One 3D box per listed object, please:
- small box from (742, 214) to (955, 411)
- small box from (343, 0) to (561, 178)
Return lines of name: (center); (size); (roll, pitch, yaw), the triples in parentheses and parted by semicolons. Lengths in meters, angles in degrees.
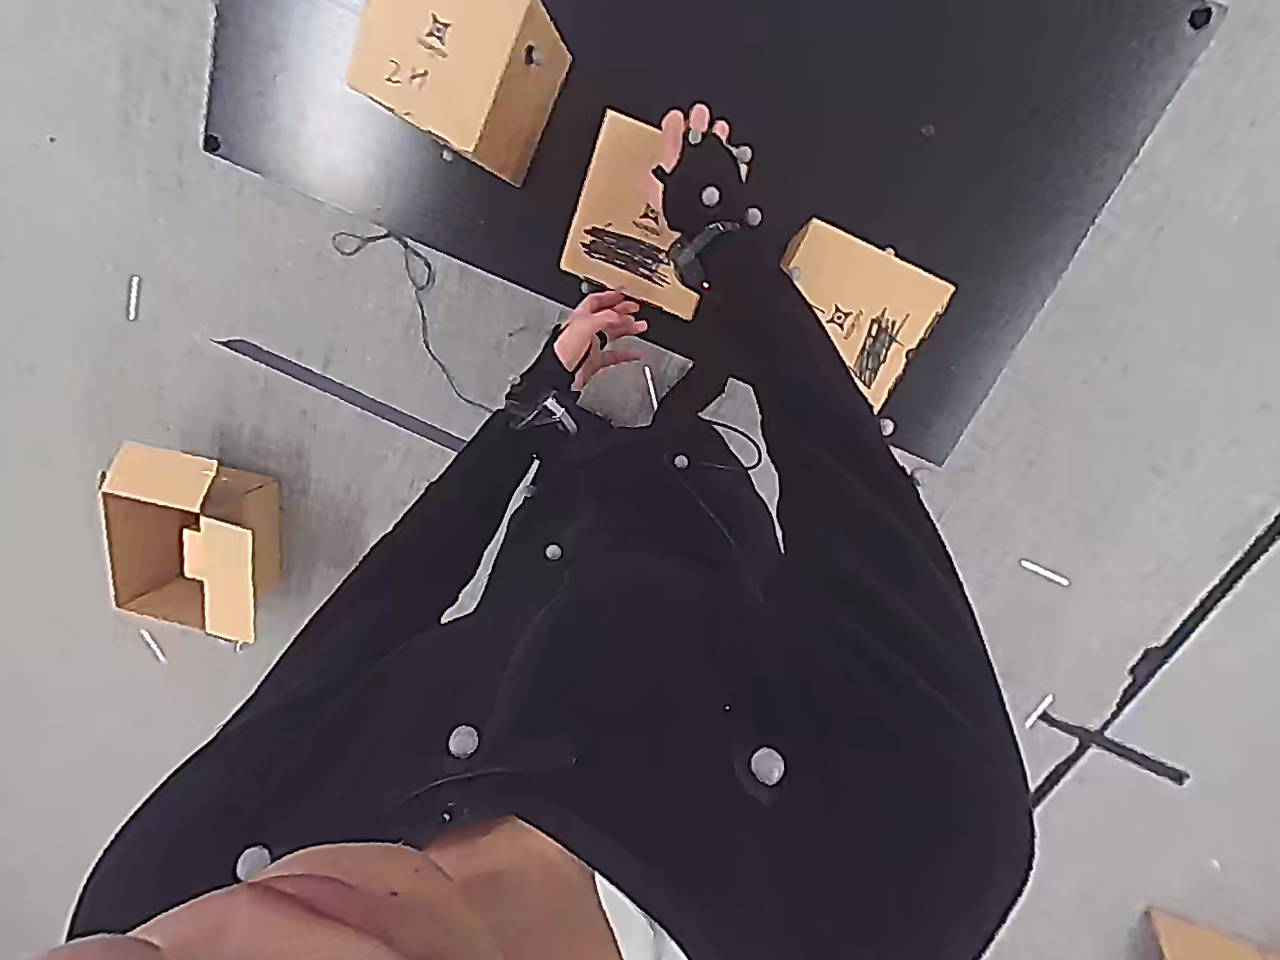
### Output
small box: (0.245, -0.210, 0.688); (0.179, 0.176, 0.168); (26, 109, 0)
small box: (-0.211, -0.504, 0.654); (0.168, 0.176, 0.179); (29, 109, -2)
